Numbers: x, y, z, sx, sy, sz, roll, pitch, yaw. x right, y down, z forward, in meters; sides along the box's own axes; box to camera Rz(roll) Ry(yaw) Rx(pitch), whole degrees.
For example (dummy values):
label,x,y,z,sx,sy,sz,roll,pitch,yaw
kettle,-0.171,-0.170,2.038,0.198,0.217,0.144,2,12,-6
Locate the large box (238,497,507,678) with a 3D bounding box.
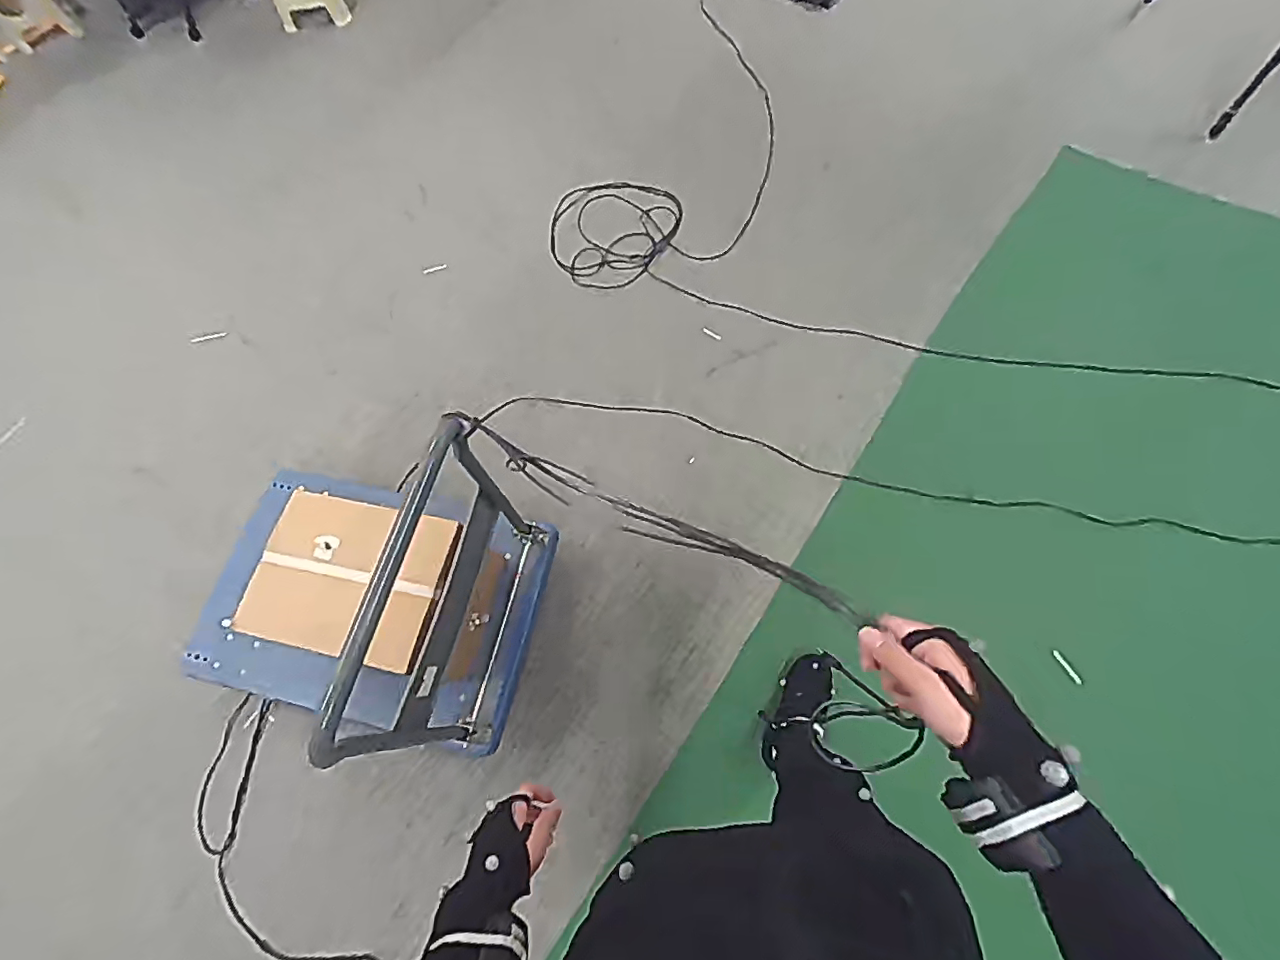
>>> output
label,x,y,z,sx,sy,sz,roll,pitch,yaw
large box,-0.578,0.258,1.249,0.408,0.320,0.320,9,68,11
